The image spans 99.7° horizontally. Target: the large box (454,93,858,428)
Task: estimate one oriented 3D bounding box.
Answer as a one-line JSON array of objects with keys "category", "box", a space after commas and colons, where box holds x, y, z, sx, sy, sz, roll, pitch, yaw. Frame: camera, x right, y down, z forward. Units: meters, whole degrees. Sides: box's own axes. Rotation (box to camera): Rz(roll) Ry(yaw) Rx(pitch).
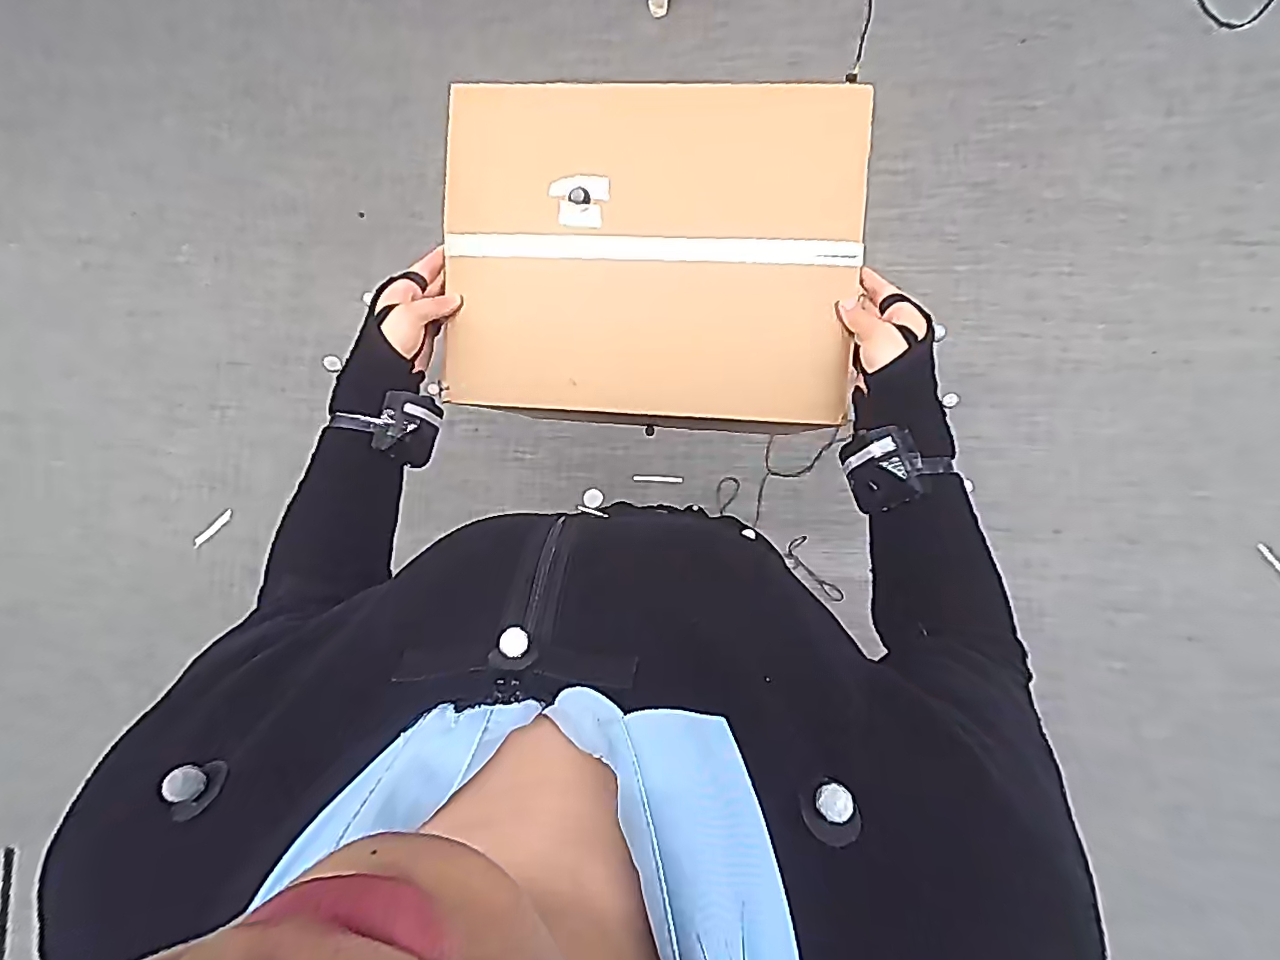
[{"category": "large box", "box": [0.024, -0.229, 0.686, 0.408, 0.320, 0.320, 3, 92, 6]}]
